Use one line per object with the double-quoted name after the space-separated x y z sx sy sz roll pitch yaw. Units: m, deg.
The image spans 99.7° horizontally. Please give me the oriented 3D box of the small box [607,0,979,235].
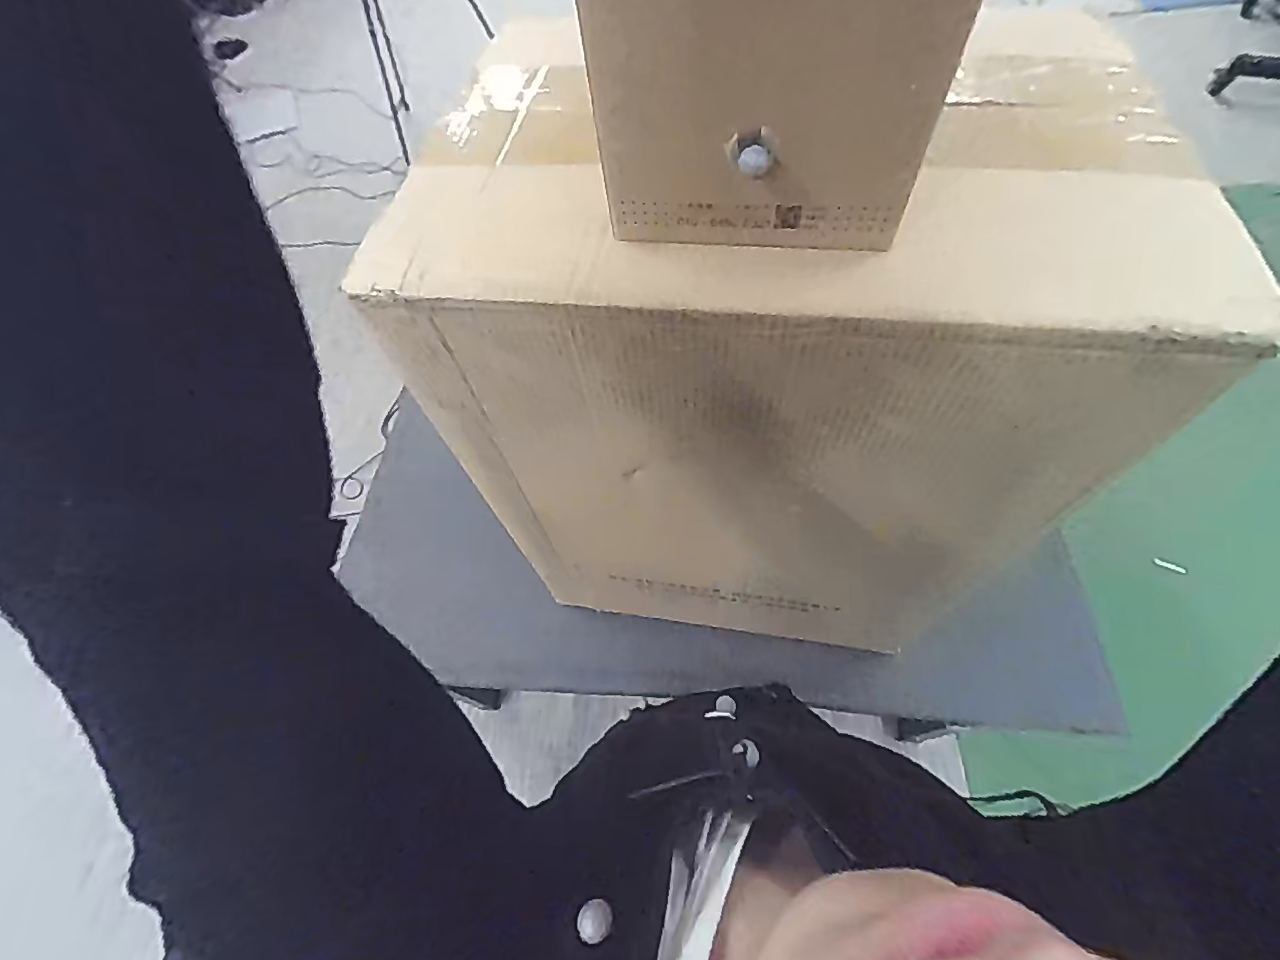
0.077 -0.267 0.297 0.168 0.176 0.179 6 63 9 "small box"
